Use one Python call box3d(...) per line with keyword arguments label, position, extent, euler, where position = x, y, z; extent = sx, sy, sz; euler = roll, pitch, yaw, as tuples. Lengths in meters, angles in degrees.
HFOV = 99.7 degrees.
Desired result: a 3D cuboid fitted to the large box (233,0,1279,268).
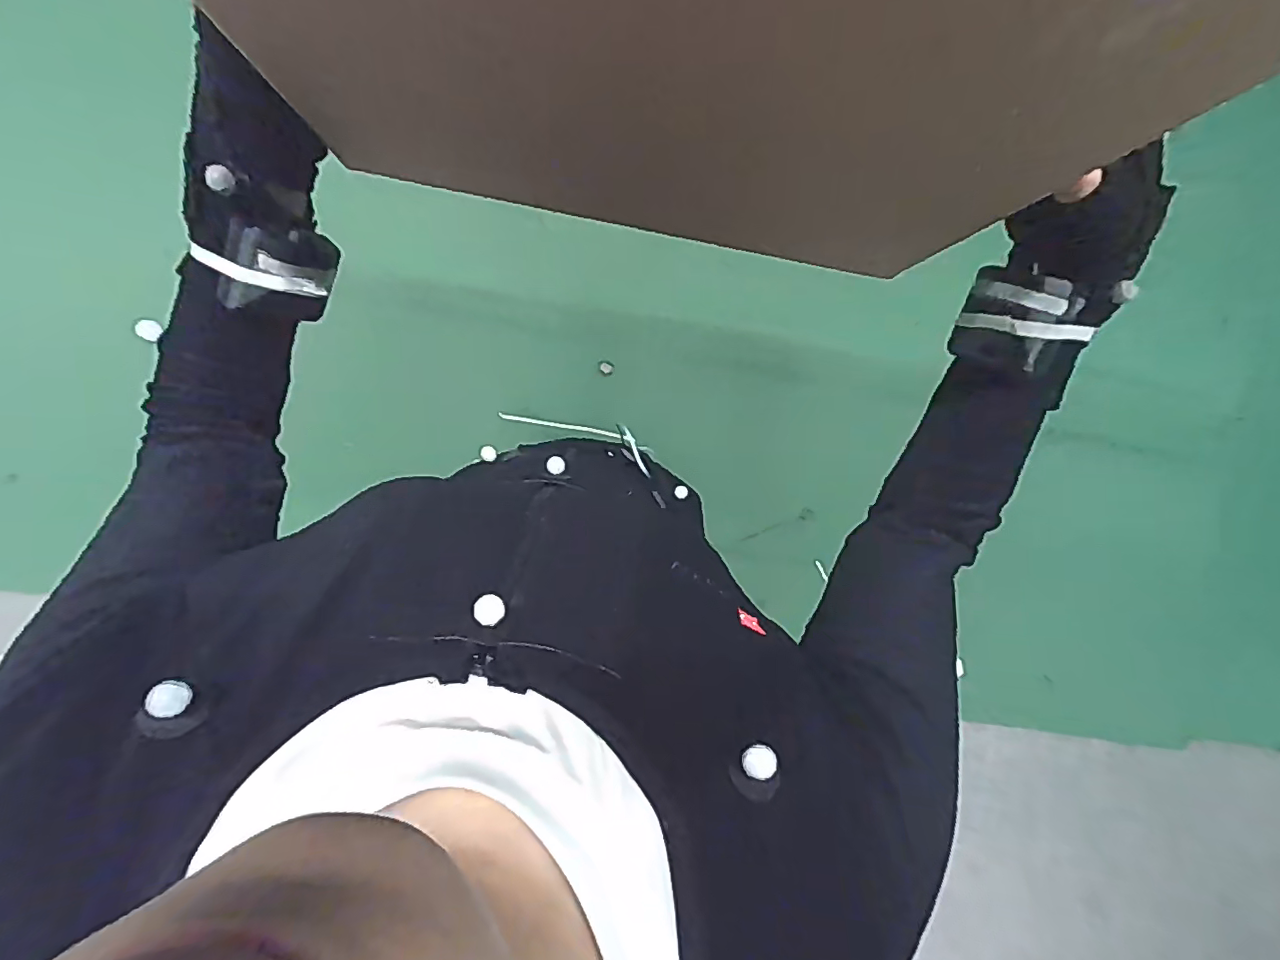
box3d(label="large box", position=(0.037, -0.327, 0.237), extent=(0.408, 0.320, 0.320), euler=(9, 94, -7))
